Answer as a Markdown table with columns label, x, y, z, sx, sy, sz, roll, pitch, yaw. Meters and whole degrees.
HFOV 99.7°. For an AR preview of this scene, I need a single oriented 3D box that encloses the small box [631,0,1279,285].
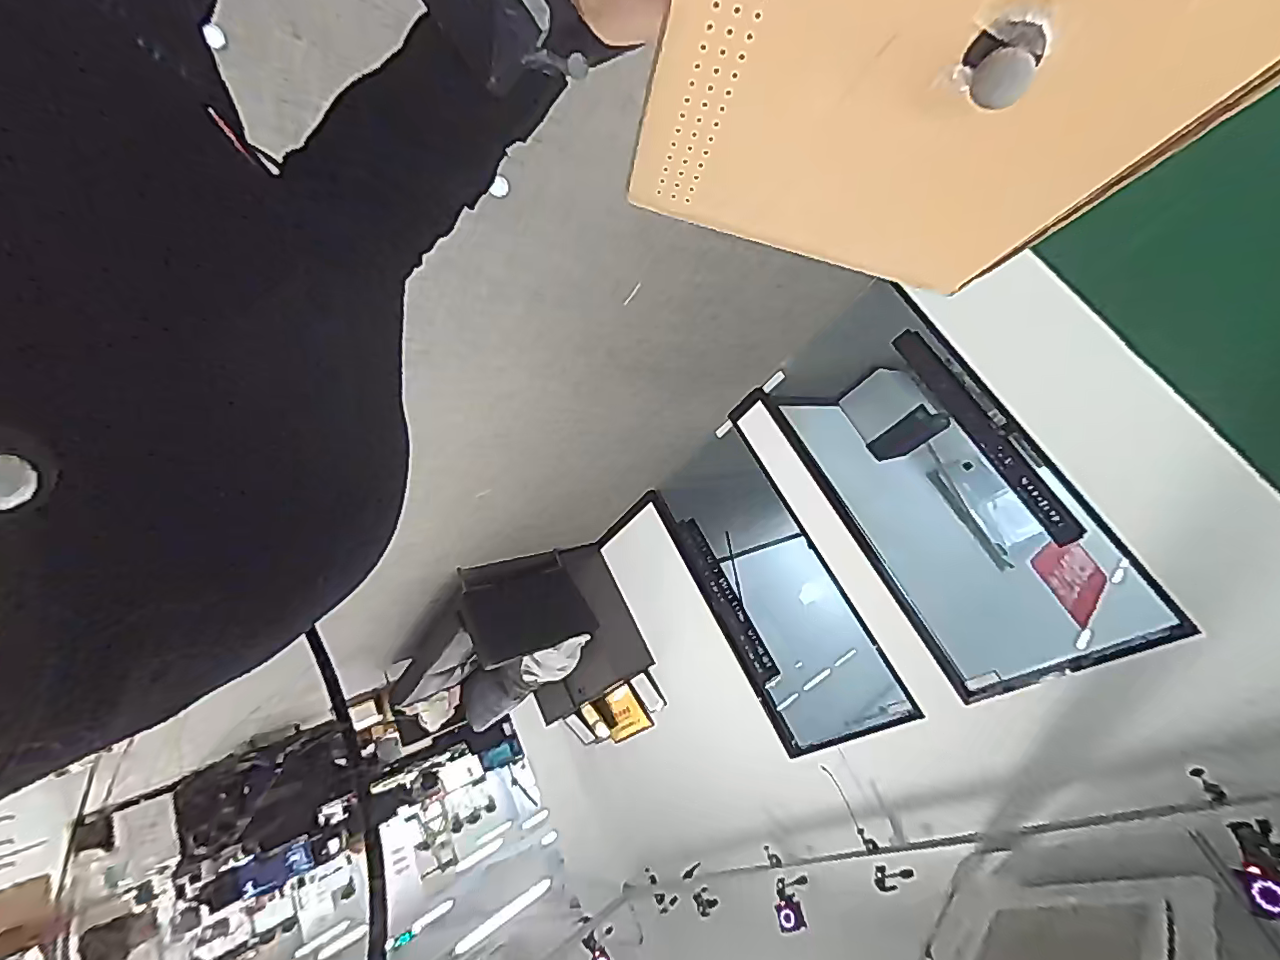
| label | x | y | z | sx | sy | sz | roll | pitch | yaw |
| --- | --- | --- | --- | --- | --- | --- | --- | --- | --- |
| small box | 0.097 | -0.204 | 0.196 | 0.176 | 0.168 | 0.179 | 12 | 168 | -7 |
